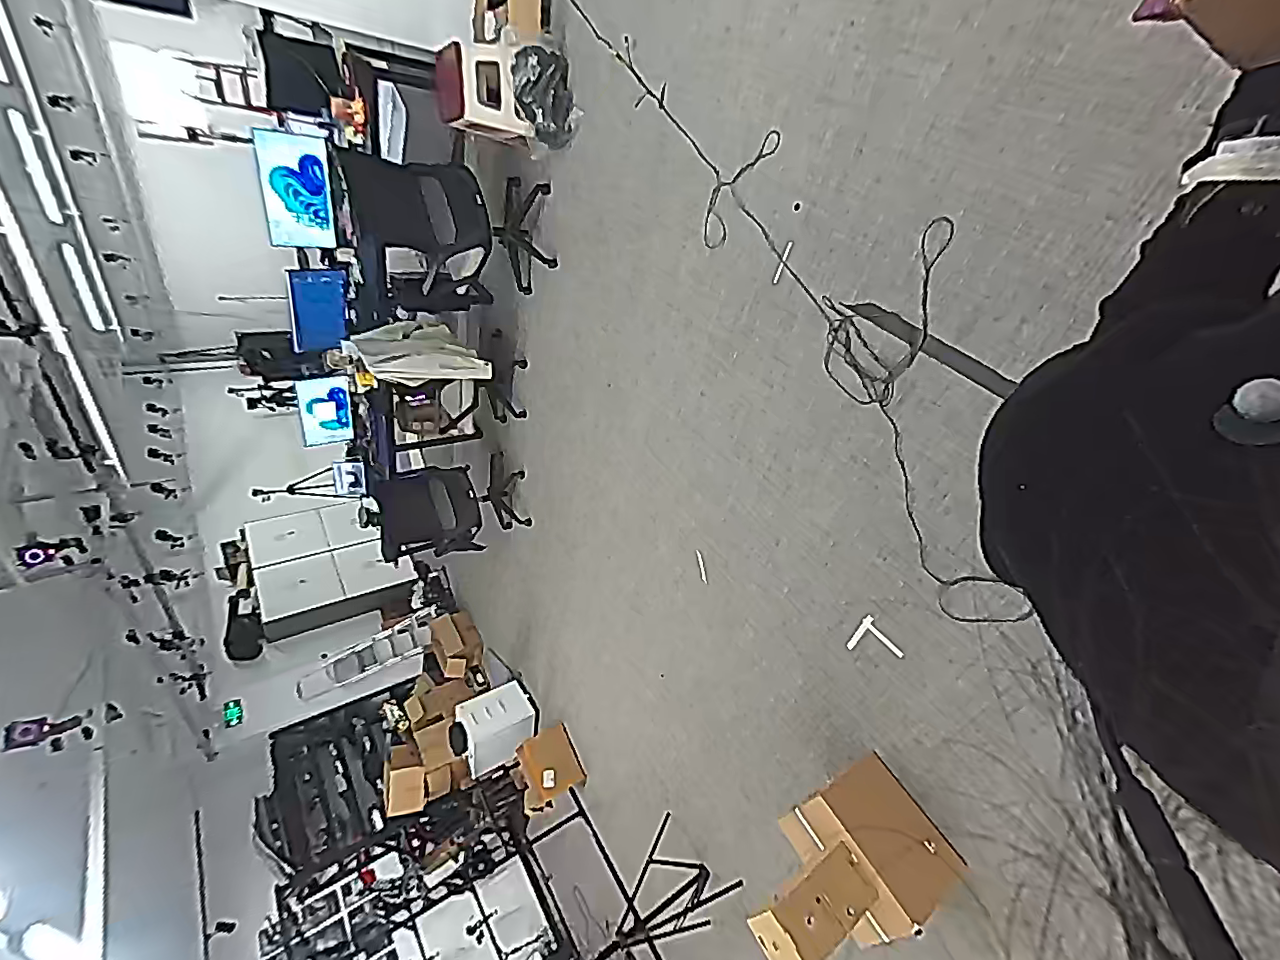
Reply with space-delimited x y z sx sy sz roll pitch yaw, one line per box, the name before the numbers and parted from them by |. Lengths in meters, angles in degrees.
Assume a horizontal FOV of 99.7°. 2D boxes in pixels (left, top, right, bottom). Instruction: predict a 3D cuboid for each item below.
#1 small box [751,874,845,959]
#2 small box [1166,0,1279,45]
small box | 0.462 1.291 1.570 0.168 0.176 0.179 52 139 31
small box | 0.339 -0.299 0.199 0.168 0.176 0.179 17 117 50
